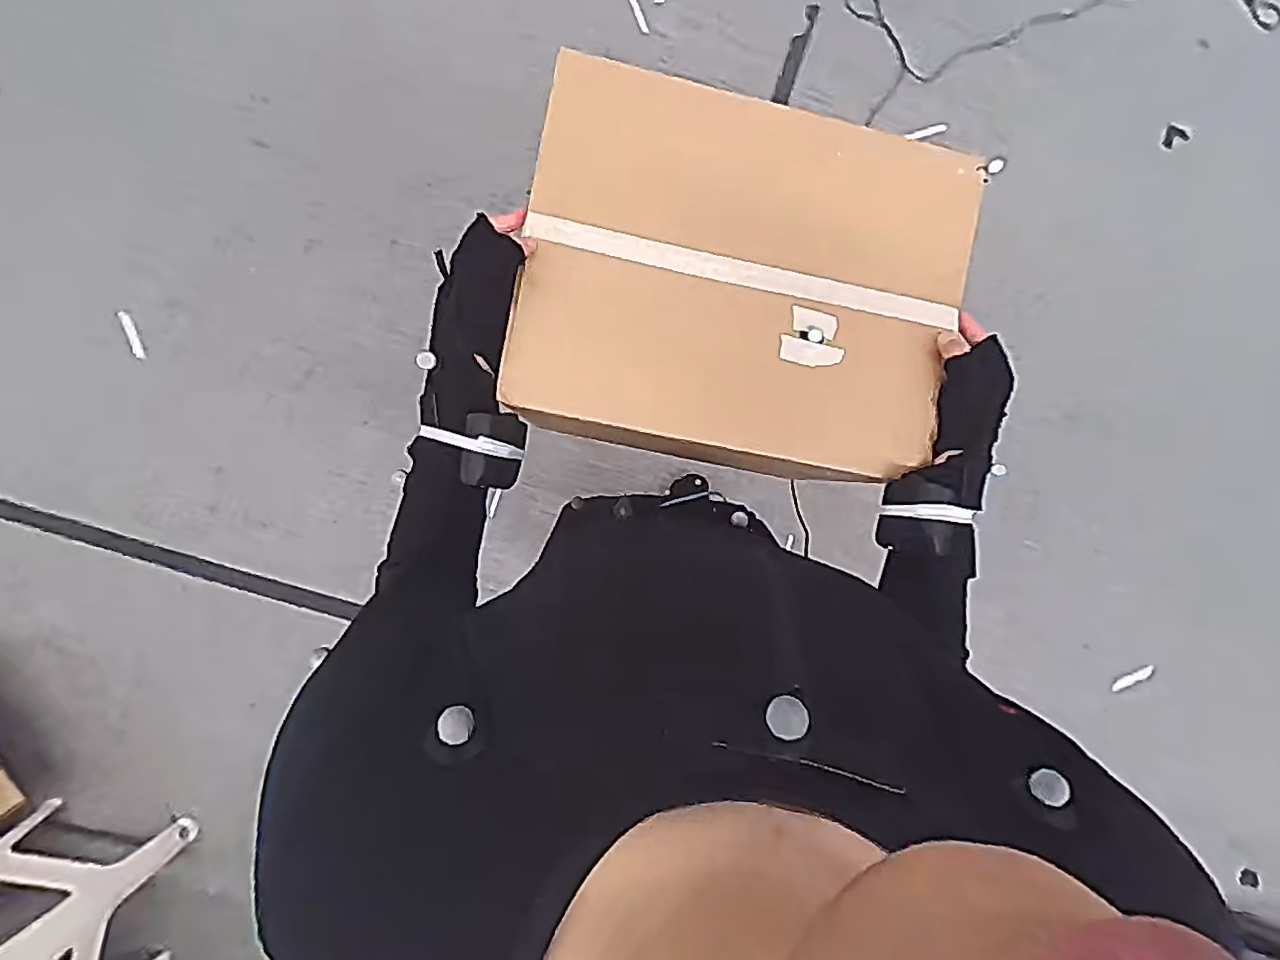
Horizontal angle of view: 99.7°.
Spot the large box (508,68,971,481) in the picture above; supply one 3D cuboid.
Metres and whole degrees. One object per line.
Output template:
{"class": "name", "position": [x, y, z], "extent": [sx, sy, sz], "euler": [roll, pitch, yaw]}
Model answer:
{"class": "large box", "position": [0.084, -0.188, 0.650], "extent": [0.408, 0.320, 0.320], "euler": [11, 92, -6]}
